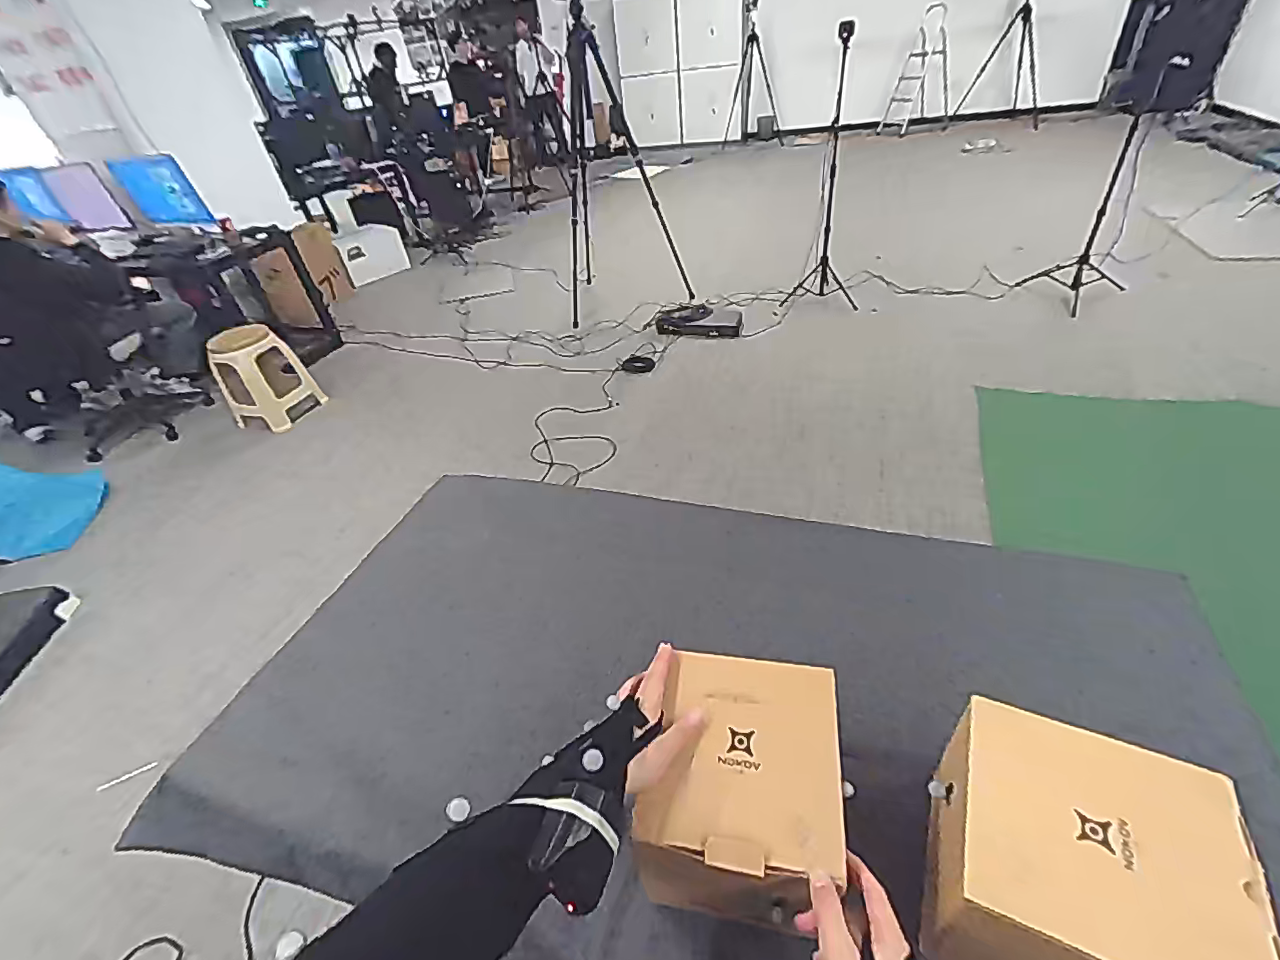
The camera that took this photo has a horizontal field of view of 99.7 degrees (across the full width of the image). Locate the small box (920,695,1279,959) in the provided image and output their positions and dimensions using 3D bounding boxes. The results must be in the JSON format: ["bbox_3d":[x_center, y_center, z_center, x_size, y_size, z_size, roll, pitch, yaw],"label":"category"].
[{"bbox_3d":[0.345,0.318,0.444,0.179,0.176,0.168,13,43,24],"label":"small box"}]

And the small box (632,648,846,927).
[{"bbox_3d":[0.097,0.292,0.521,0.168,0.176,0.179,3,39,12],"label":"small box"}]
